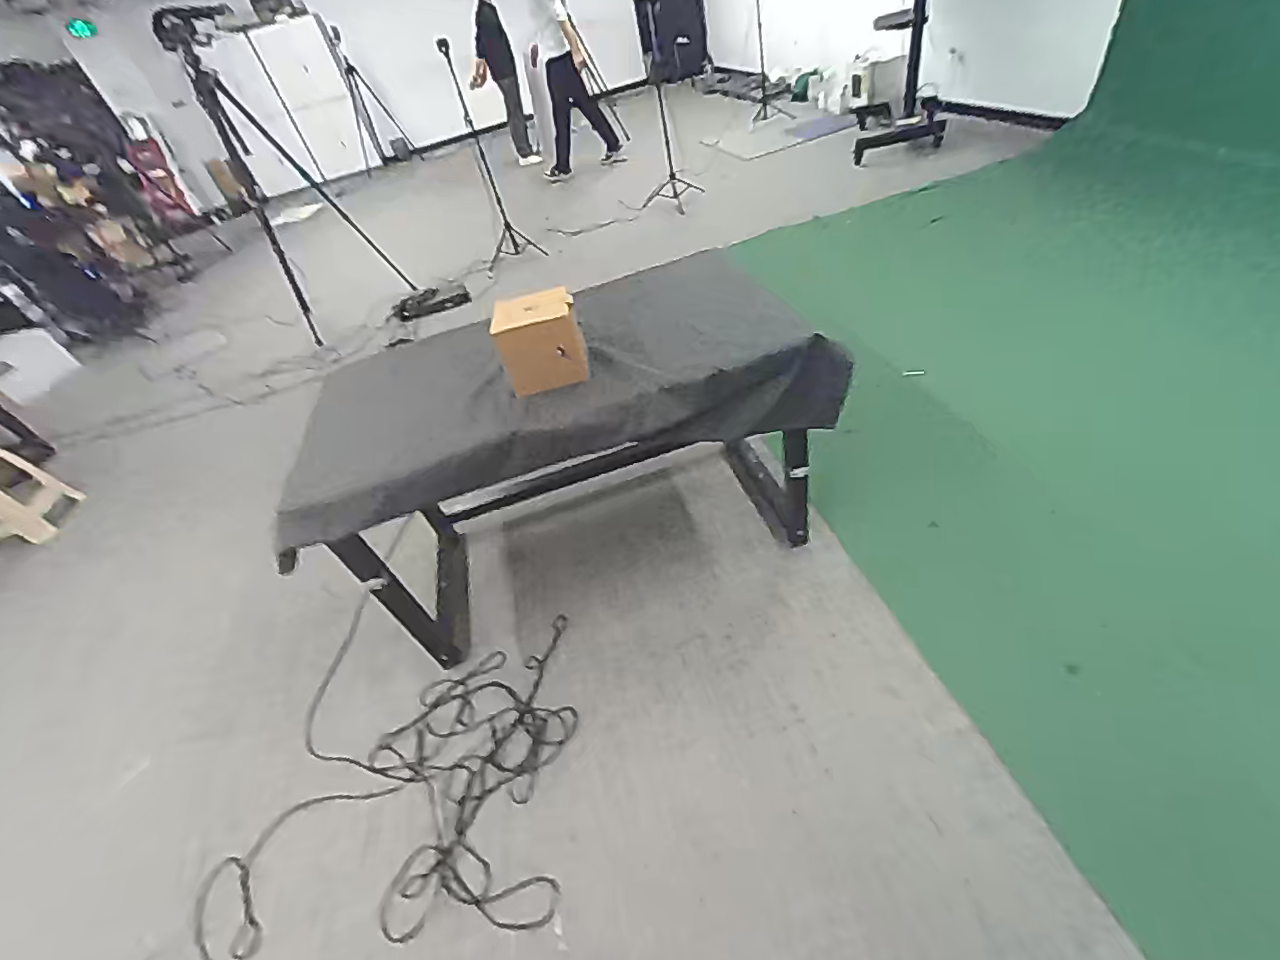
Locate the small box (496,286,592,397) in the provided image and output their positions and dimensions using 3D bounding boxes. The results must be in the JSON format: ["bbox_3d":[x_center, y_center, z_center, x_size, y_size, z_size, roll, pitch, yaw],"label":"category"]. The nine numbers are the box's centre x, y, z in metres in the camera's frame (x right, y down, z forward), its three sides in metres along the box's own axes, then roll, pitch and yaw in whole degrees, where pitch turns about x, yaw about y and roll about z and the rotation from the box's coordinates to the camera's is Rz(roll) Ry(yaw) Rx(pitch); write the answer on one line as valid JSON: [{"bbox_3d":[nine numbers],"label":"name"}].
[{"bbox_3d":[-0.213,-0.317,1.247,0.179,0.176,0.168,-14,41,3],"label":"small box"}]
